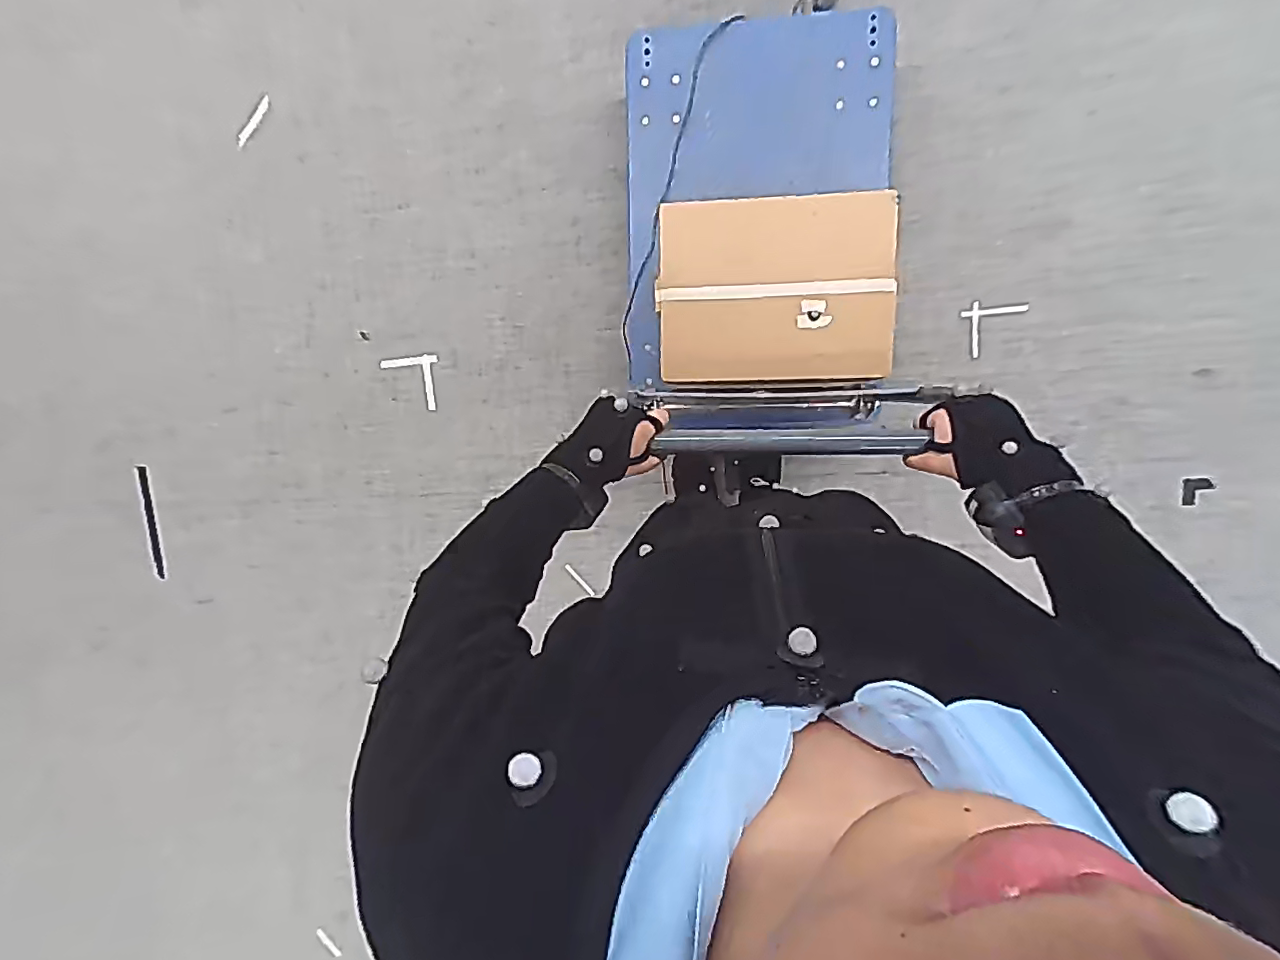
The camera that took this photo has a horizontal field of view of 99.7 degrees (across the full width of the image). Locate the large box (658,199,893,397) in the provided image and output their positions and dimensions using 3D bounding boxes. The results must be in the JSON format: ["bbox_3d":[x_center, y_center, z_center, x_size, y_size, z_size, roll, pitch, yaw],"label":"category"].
[{"bbox_3d":[0.248,-0.334,1.093,0.408,0.320,0.320,0,98,6],"label":"large box"}]
